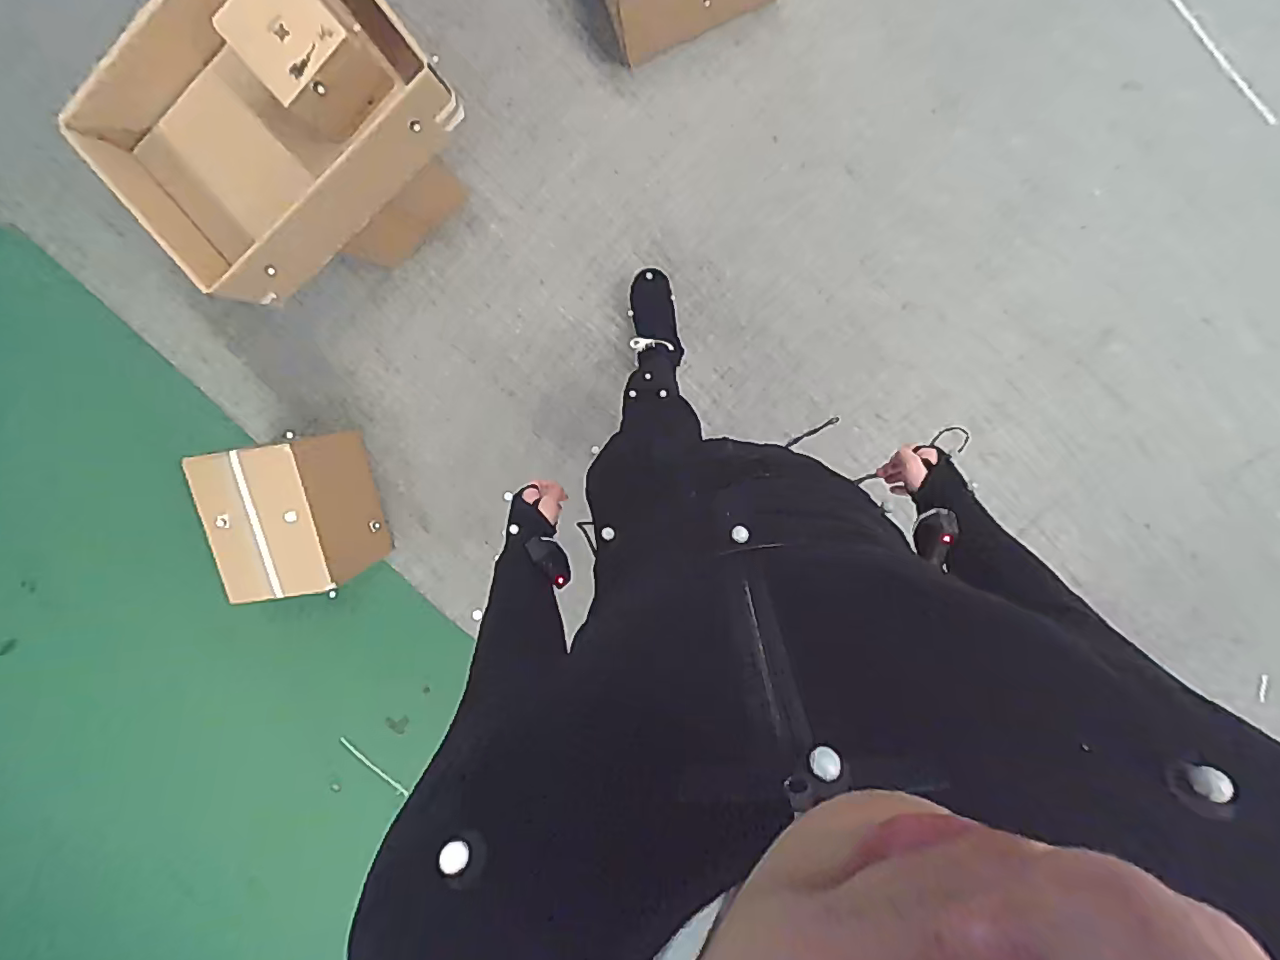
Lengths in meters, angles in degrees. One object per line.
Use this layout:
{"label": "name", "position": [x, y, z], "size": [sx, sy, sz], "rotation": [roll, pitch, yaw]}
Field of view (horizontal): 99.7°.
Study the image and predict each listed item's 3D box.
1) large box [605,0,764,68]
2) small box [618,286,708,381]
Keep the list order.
{"label": "large box", "position": [0.091, -1.229, 1.192], "size": [0.408, 0.320, 0.320], "rotation": [-21, 100, 9]}
{"label": "small box", "position": [0.057, -0.389, 1.431], "size": [0.179, 0.176, 0.168], "rotation": [35, 119, -2]}
